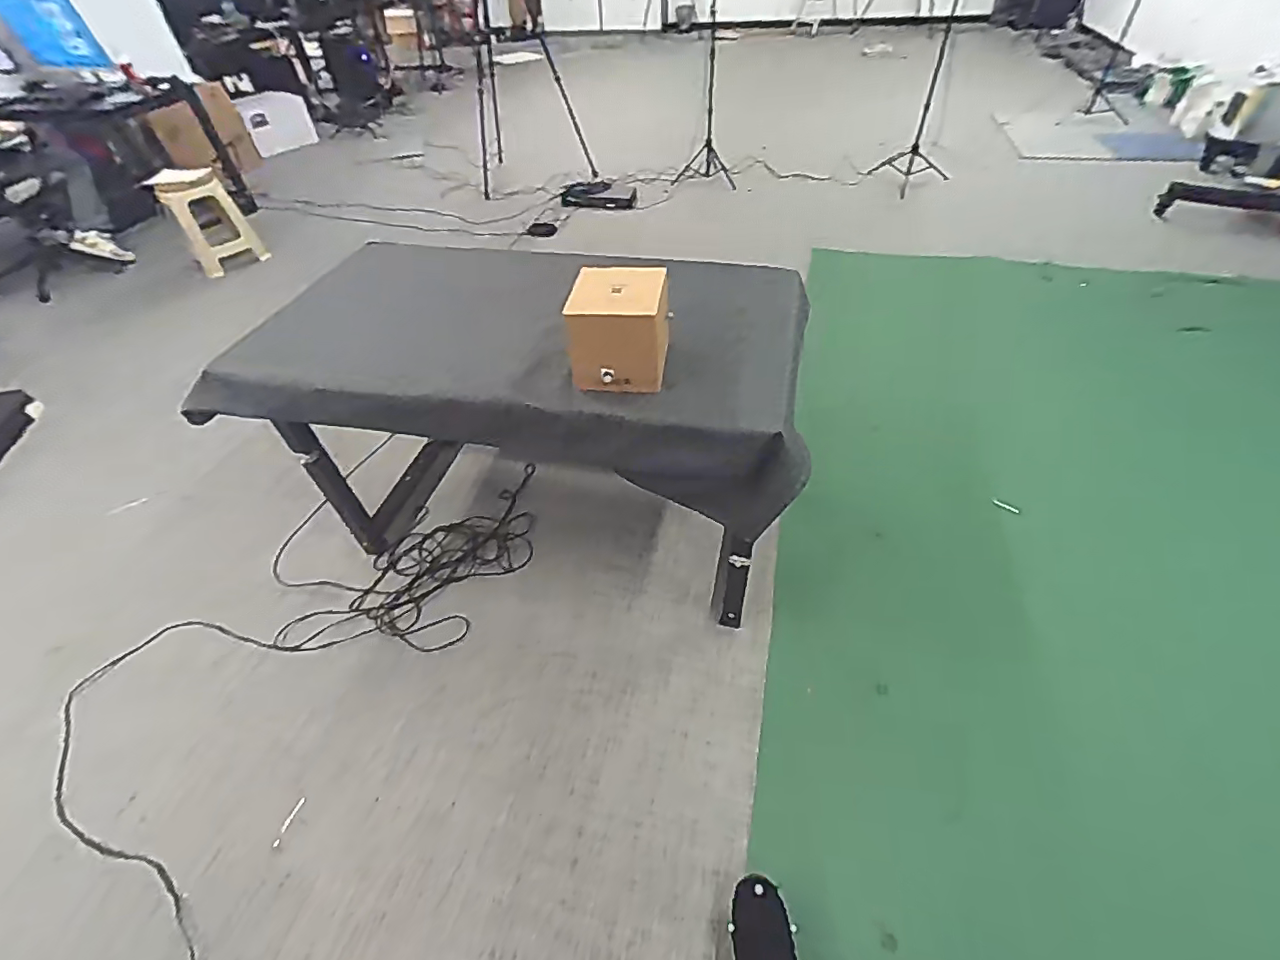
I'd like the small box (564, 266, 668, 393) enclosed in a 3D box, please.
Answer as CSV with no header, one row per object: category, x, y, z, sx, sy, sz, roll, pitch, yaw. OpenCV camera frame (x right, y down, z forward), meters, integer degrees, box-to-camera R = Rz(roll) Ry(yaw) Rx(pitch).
small box,-0.036,-0.286,1.026,0.168,0.176,0.179,2,48,7
